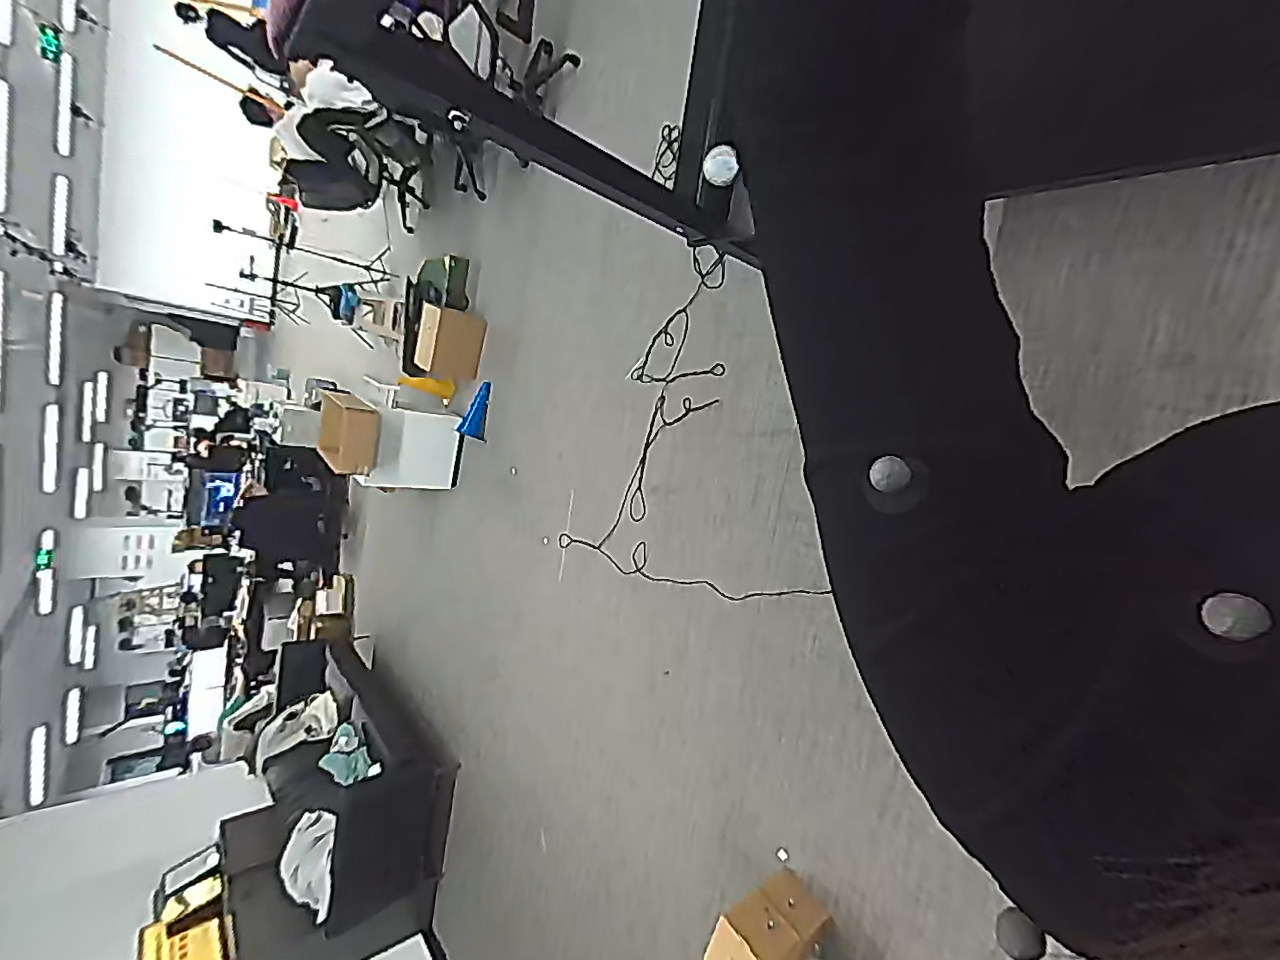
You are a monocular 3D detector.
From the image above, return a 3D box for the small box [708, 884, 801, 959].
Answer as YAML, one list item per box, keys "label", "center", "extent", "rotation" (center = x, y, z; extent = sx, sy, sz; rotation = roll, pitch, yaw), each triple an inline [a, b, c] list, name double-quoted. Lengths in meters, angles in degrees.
- label: "small box"
  center: [0.325, 1.307, 1.527]
  extent: [0.168, 0.176, 0.179]
  rotation: [29, 108, 46]
